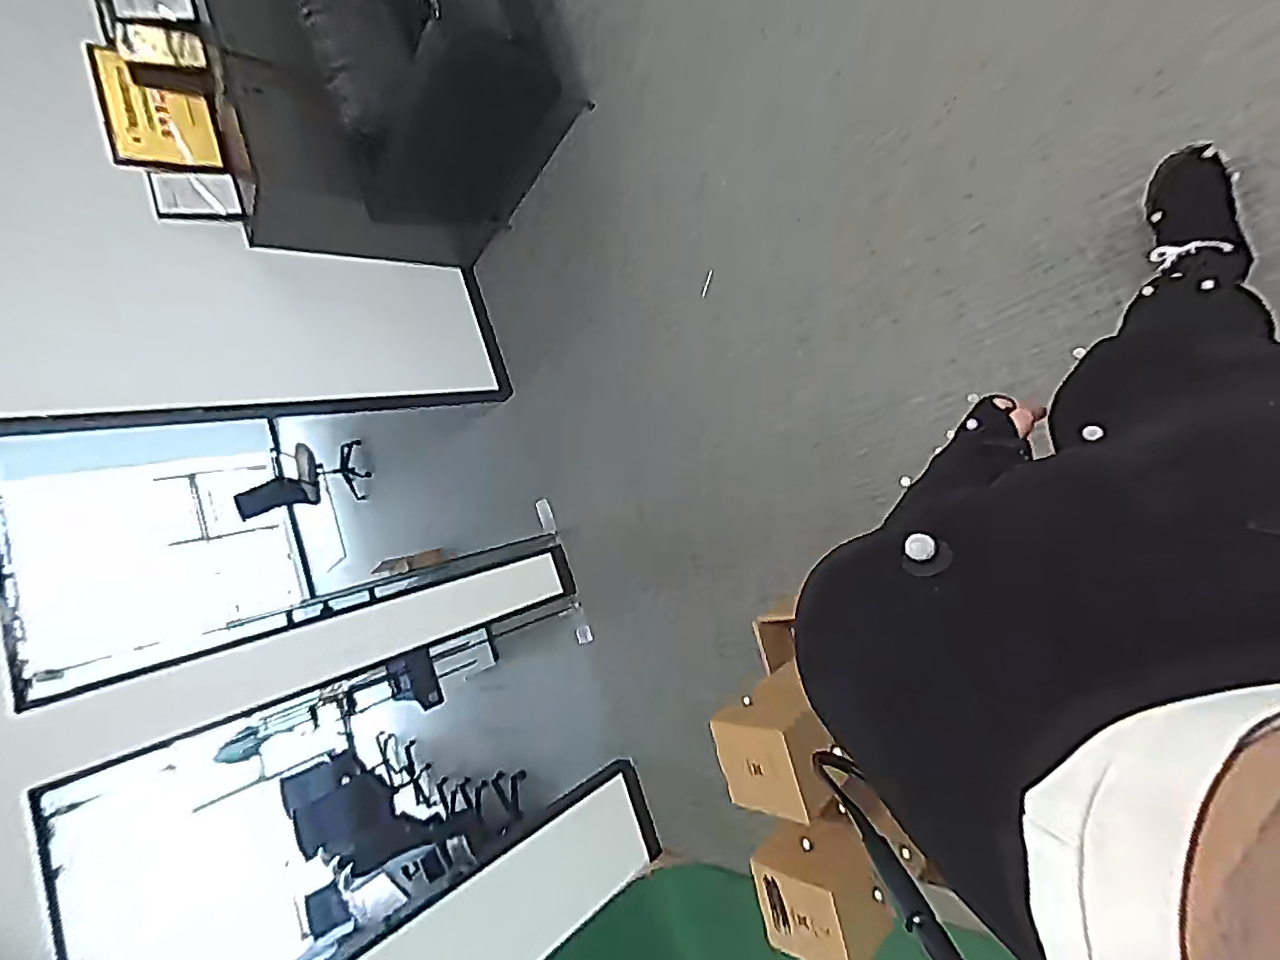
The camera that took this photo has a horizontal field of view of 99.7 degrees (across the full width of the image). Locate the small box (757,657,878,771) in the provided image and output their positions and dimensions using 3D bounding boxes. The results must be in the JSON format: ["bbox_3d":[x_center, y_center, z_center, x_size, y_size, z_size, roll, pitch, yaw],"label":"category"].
[{"bbox_3d":[0.389,0.492,1.167,0.179,0.176,0.168,-20,84,48],"label":"small box"}]

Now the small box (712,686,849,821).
[{"bbox_3d":[0.274,0.518,1.054,0.179,0.176,0.168,-18,86,47],"label":"small box"}]

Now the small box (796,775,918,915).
[{"bbox_3d":[0.464,0.756,1.145,0.179,0.176,0.168,-18,85,47],"label":"small box"}]
